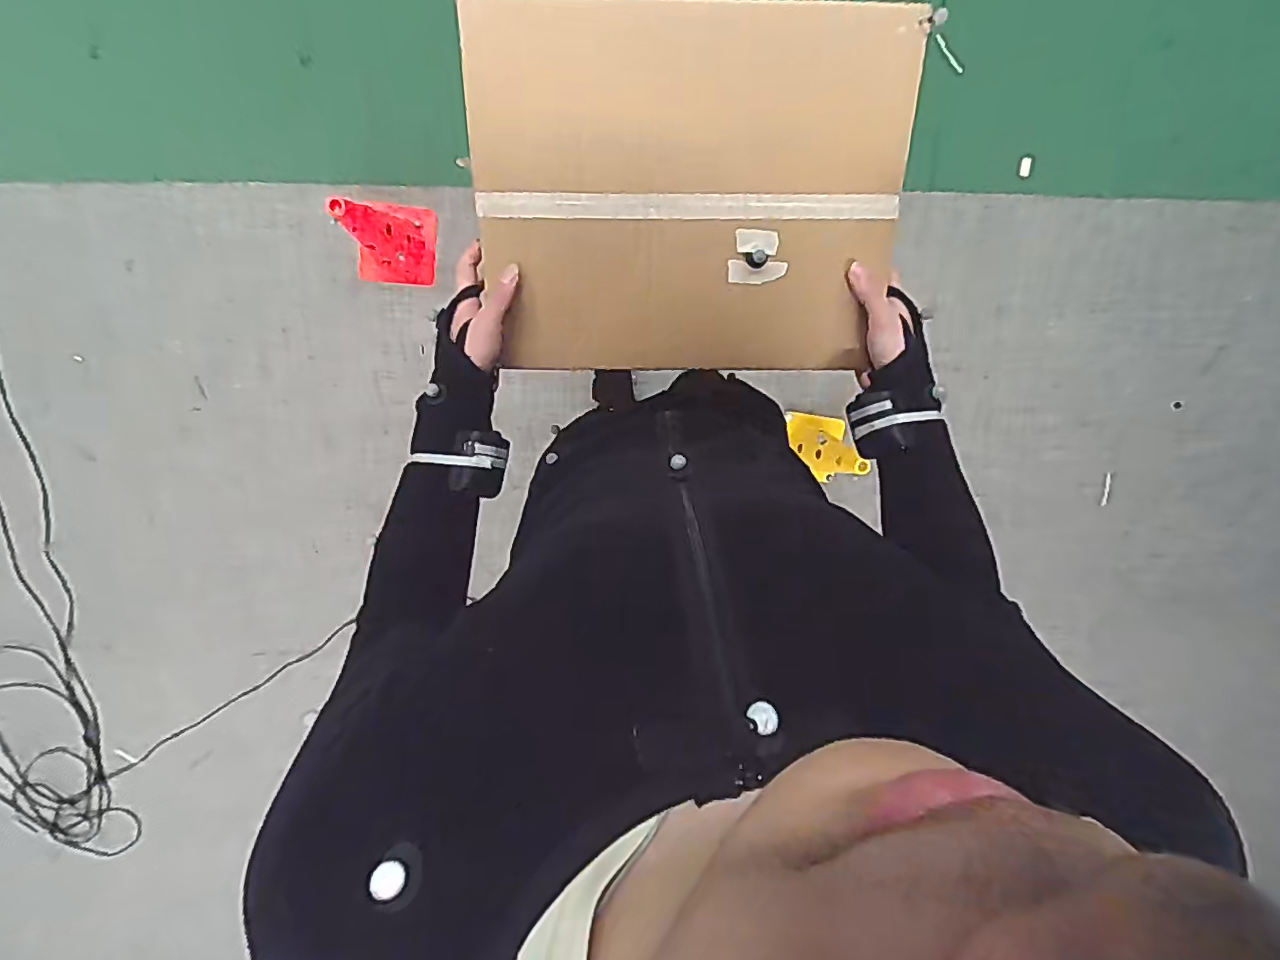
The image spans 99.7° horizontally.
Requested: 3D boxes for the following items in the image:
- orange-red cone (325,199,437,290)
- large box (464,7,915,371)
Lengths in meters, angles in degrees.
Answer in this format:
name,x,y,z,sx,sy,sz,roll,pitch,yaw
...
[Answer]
name,x,y,z,sx,sy,sz,roll,pitch,yaw
orange-red cone,-0.643,-0.589,1.285,0.199,0.360,0.198,6,100,-4
large box,0.040,-0.321,0.662,0.408,0.320,0.320,-1,113,-2
